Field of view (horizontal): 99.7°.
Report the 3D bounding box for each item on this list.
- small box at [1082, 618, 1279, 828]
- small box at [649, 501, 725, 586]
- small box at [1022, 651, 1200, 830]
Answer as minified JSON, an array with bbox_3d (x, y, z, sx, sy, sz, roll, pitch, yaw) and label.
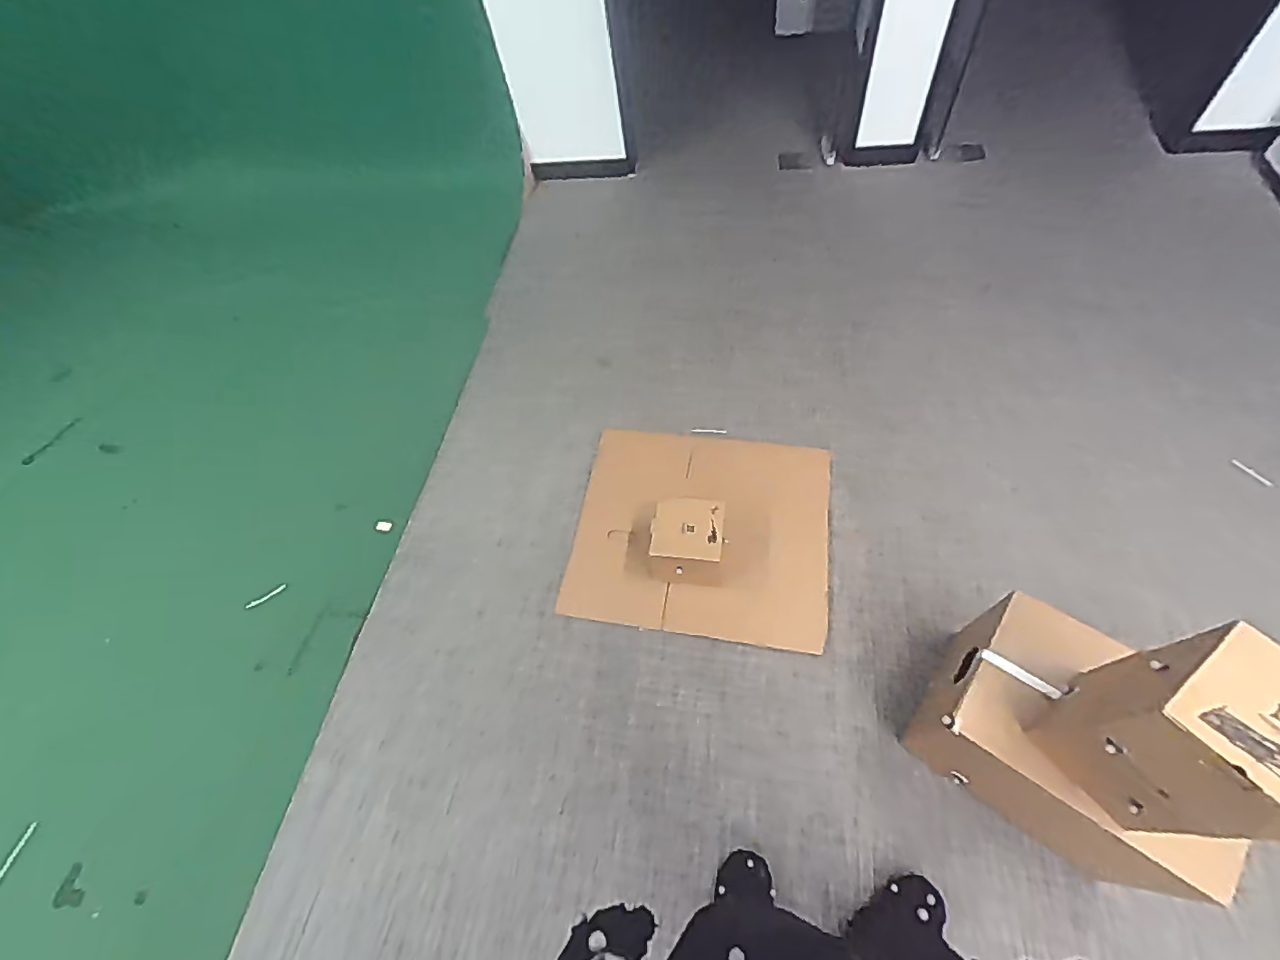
[{"bbox_3d":[0.722,0.314,0.690,0.179,0.176,0.168,-38,61,-14],"label":"small box"},{"bbox_3d":[0.128,0.169,1.412,0.179,0.176,0.168,1,57,11],"label":"small box"},{"bbox_3d":[0.748,0.398,0.829,0.168,0.176,0.179,-35,59,-14],"label":"small box"}]
